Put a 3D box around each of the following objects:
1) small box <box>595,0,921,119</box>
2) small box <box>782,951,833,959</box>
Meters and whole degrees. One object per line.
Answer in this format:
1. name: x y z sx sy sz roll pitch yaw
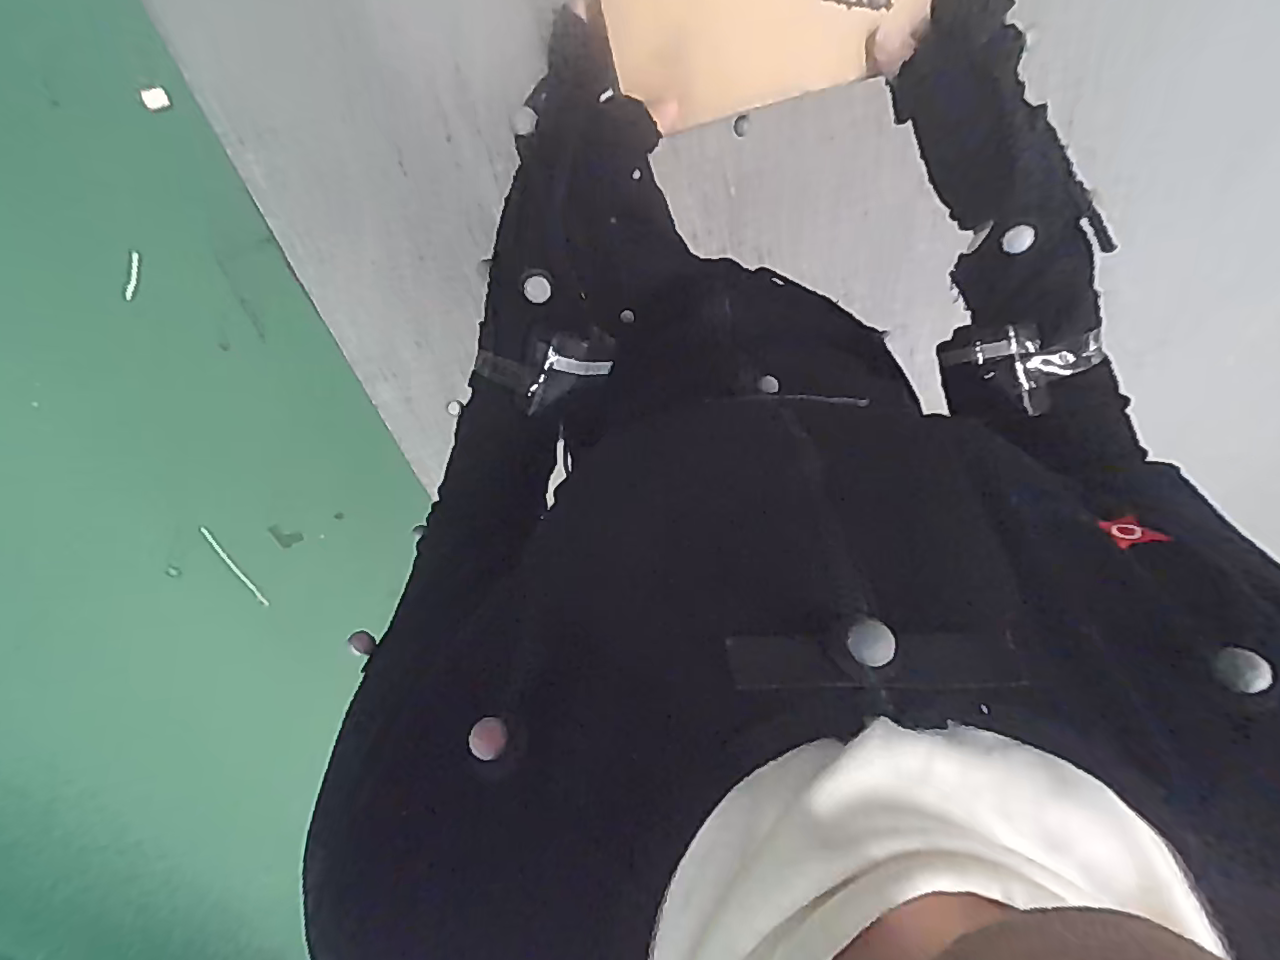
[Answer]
1. small box: 0.054 -0.338 0.334 0.179 0.176 0.168 -10 122 5
2. small box: 0.468 1.424 1.469 0.179 0.176 0.168 -17 122 6
